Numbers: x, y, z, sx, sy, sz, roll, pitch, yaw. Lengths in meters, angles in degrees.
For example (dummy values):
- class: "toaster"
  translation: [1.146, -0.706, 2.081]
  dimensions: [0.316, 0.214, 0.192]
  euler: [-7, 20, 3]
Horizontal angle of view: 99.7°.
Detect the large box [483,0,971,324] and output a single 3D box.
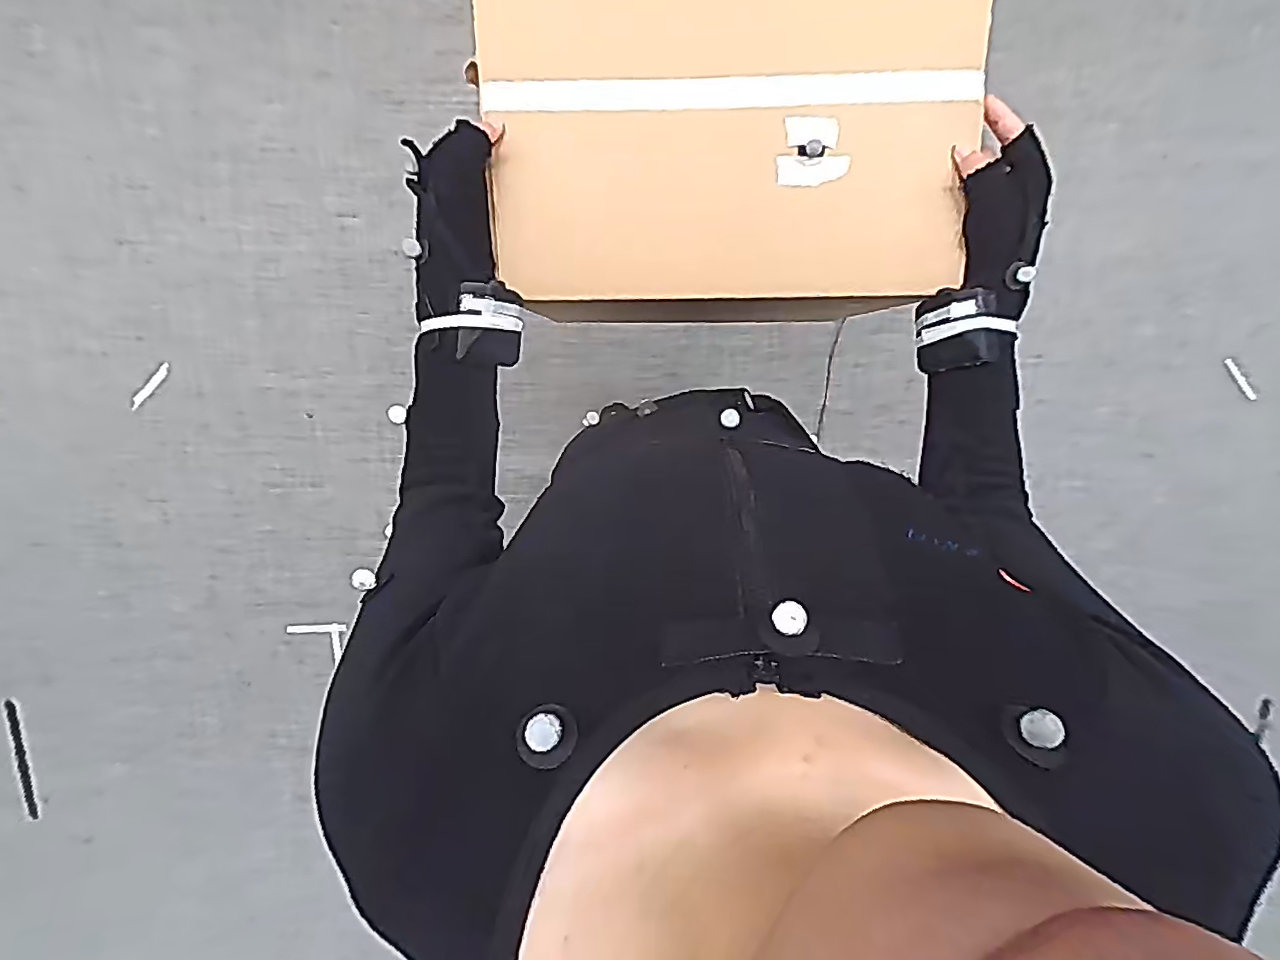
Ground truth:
- class: "large box"
  translation: [0.071, -0.349, 0.601]
  dimensions: [0.408, 0.320, 0.320]
  euler: [-1, 103, 0]
